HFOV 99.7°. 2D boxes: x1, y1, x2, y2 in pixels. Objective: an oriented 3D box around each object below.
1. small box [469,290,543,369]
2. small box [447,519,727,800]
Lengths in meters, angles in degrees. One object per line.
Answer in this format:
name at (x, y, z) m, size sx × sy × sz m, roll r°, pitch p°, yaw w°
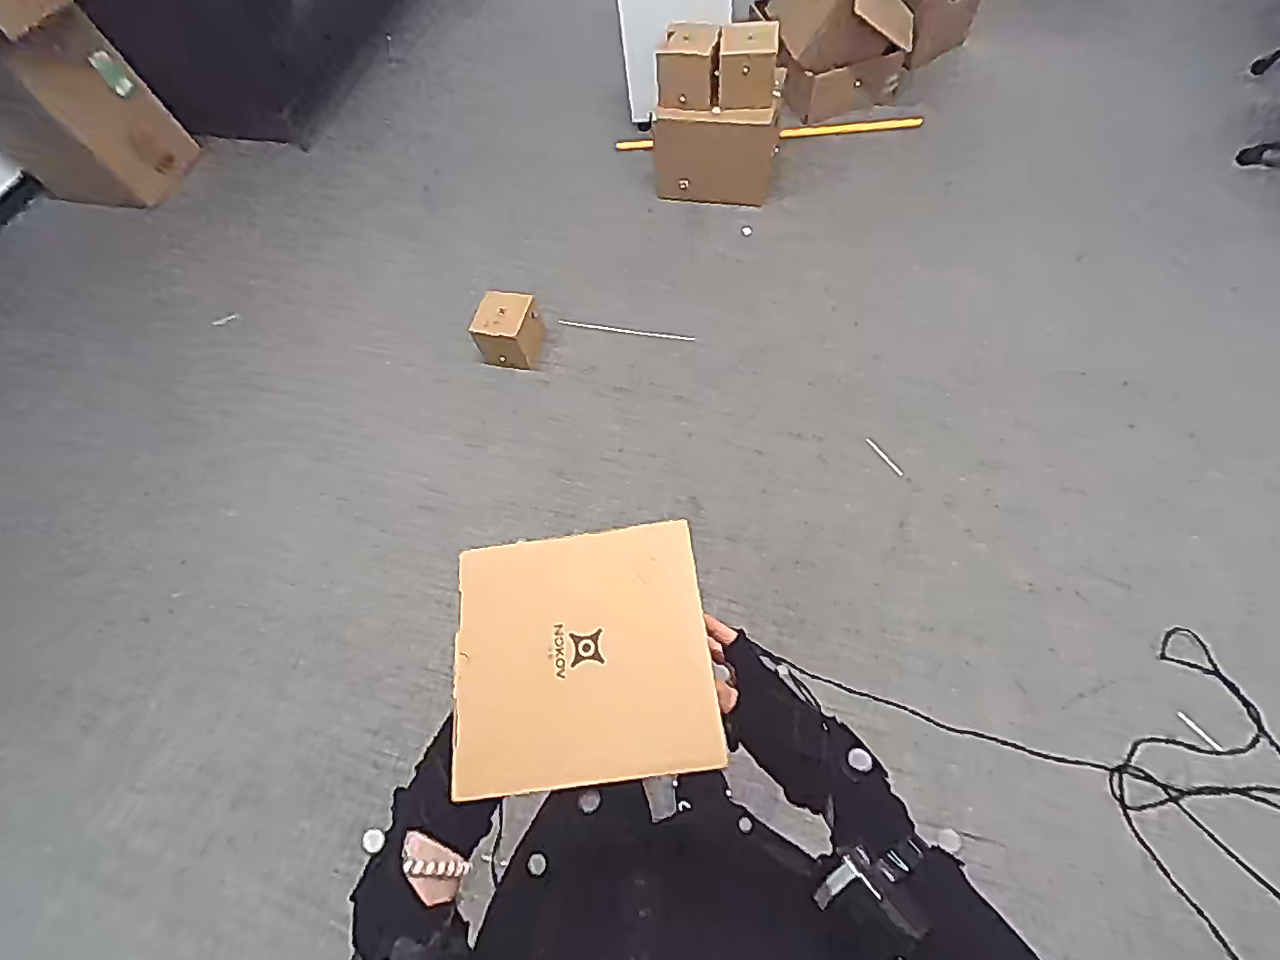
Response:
small box at (-0.431, -0.492, 1.777) m, size 0.168 × 0.176 × 0.179 m, roll 10°, pitch 66°, yaw 12°
small box at (-0.034, 0.145, 0.433) m, size 0.179 × 0.176 × 0.168 m, roll -9°, pitch 64°, yaw 3°
